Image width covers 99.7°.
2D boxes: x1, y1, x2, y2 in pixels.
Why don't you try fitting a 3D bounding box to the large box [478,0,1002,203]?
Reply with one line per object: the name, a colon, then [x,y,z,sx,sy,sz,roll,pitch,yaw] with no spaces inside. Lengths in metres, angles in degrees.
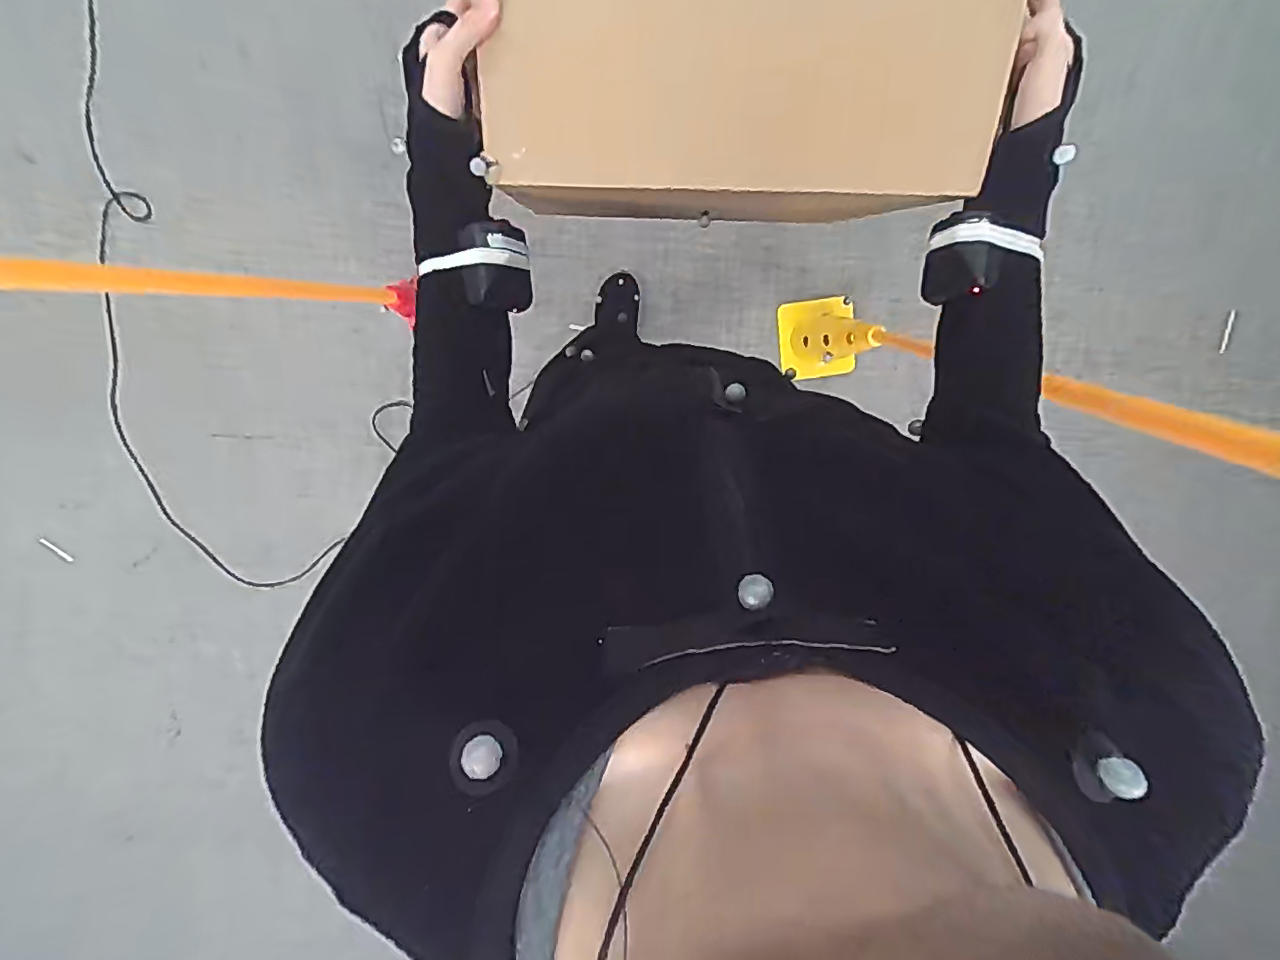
large box: [0.074,-0.451,0.526,0.408,0.320,0.320,0,112,-3]
